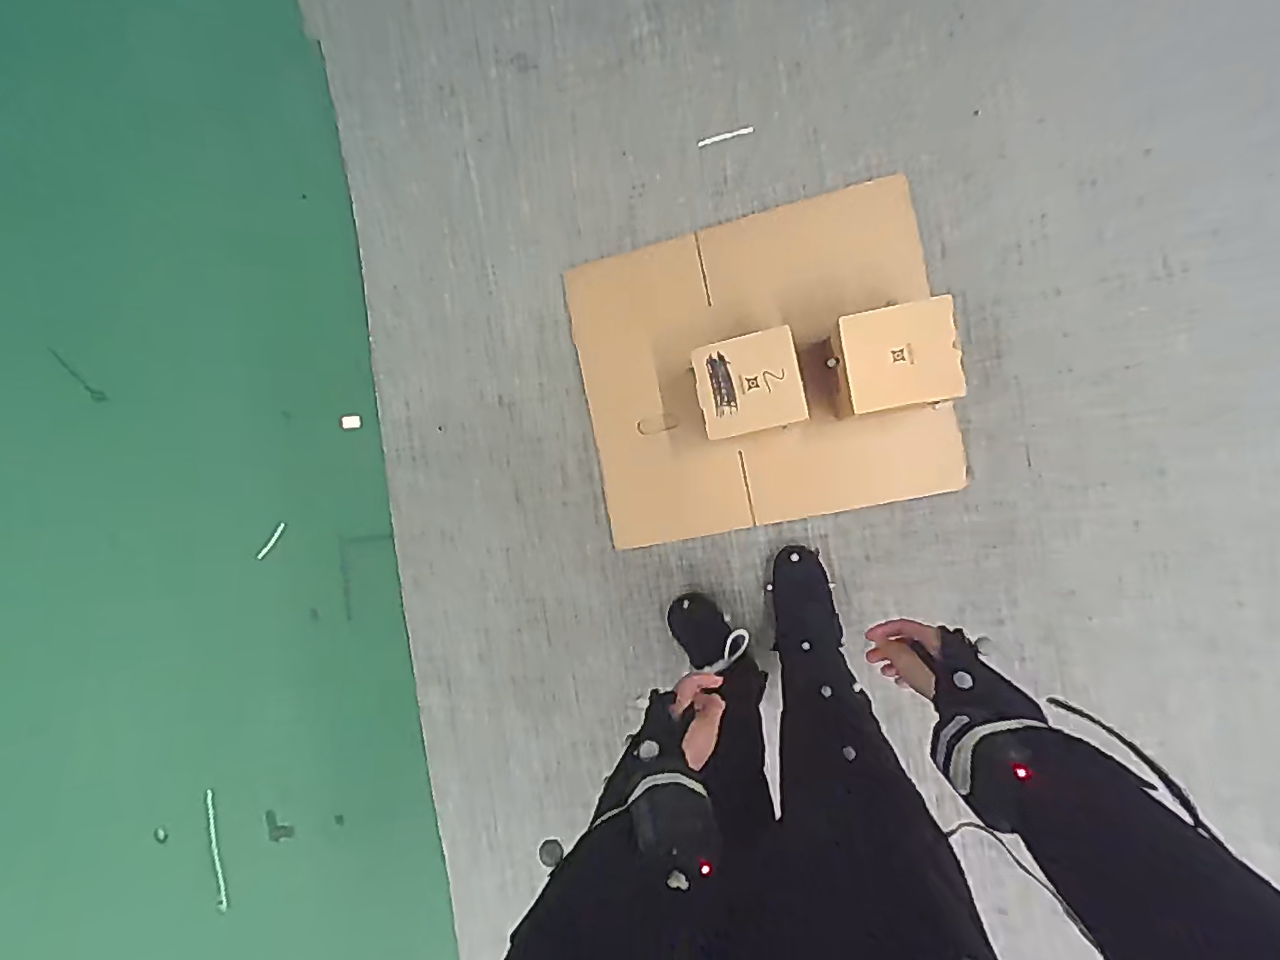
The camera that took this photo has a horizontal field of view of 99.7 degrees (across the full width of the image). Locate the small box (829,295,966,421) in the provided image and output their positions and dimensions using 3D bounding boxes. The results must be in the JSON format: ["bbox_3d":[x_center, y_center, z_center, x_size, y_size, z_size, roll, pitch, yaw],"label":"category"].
[{"bbox_3d":[0.437,-0.202,0.949,0.179,0.176,0.168,-10,89,12],"label":"small box"}]
